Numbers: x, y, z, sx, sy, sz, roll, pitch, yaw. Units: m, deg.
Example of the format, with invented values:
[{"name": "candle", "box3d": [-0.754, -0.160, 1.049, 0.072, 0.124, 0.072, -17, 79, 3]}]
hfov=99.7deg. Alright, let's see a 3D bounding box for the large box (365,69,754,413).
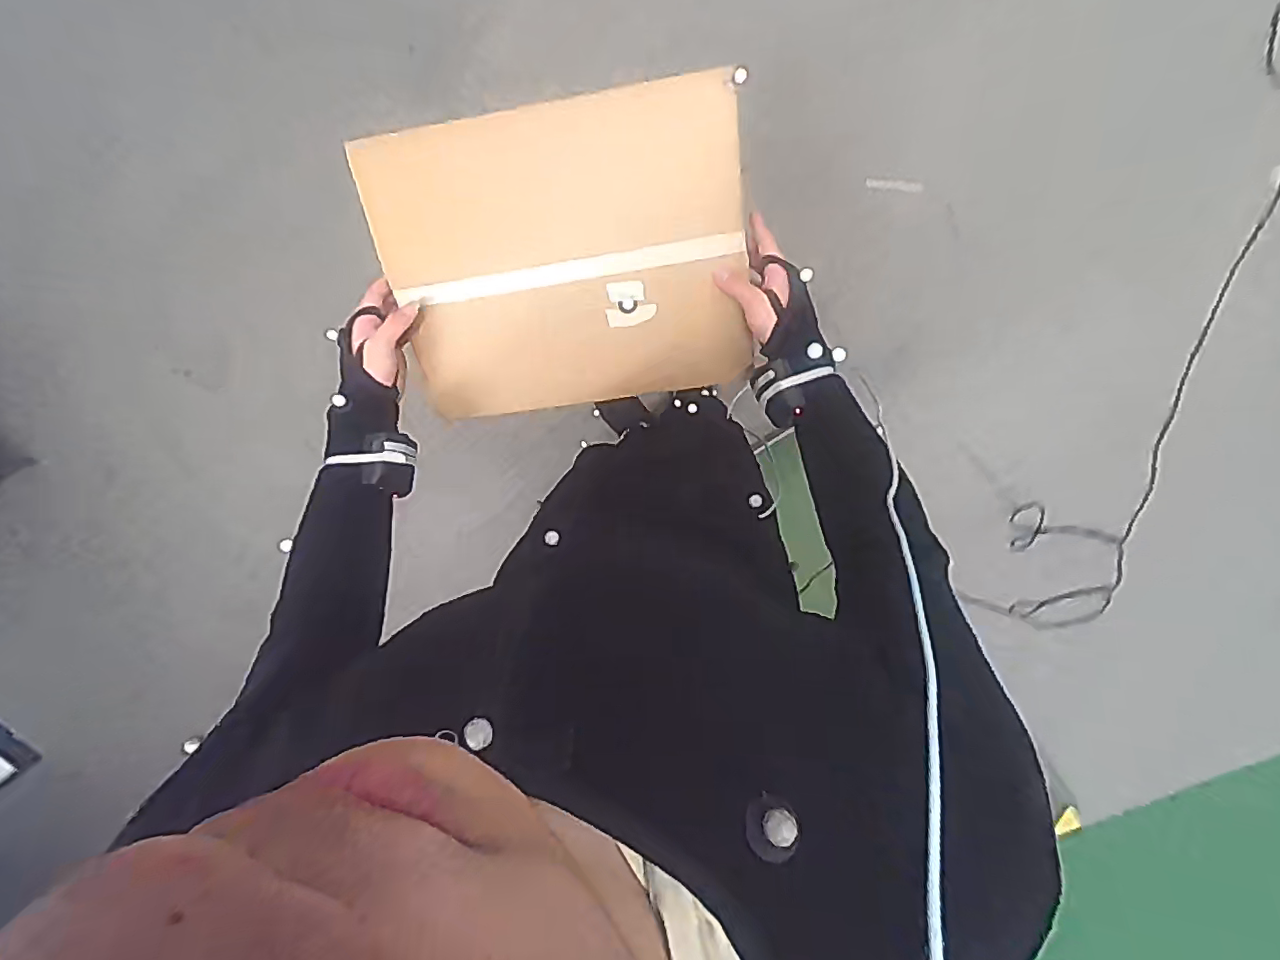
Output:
[{"name": "large box", "box3d": [-0.074, -0.311, 0.753, 0.408, 0.320, 0.320, -7, 116, 5]}]
